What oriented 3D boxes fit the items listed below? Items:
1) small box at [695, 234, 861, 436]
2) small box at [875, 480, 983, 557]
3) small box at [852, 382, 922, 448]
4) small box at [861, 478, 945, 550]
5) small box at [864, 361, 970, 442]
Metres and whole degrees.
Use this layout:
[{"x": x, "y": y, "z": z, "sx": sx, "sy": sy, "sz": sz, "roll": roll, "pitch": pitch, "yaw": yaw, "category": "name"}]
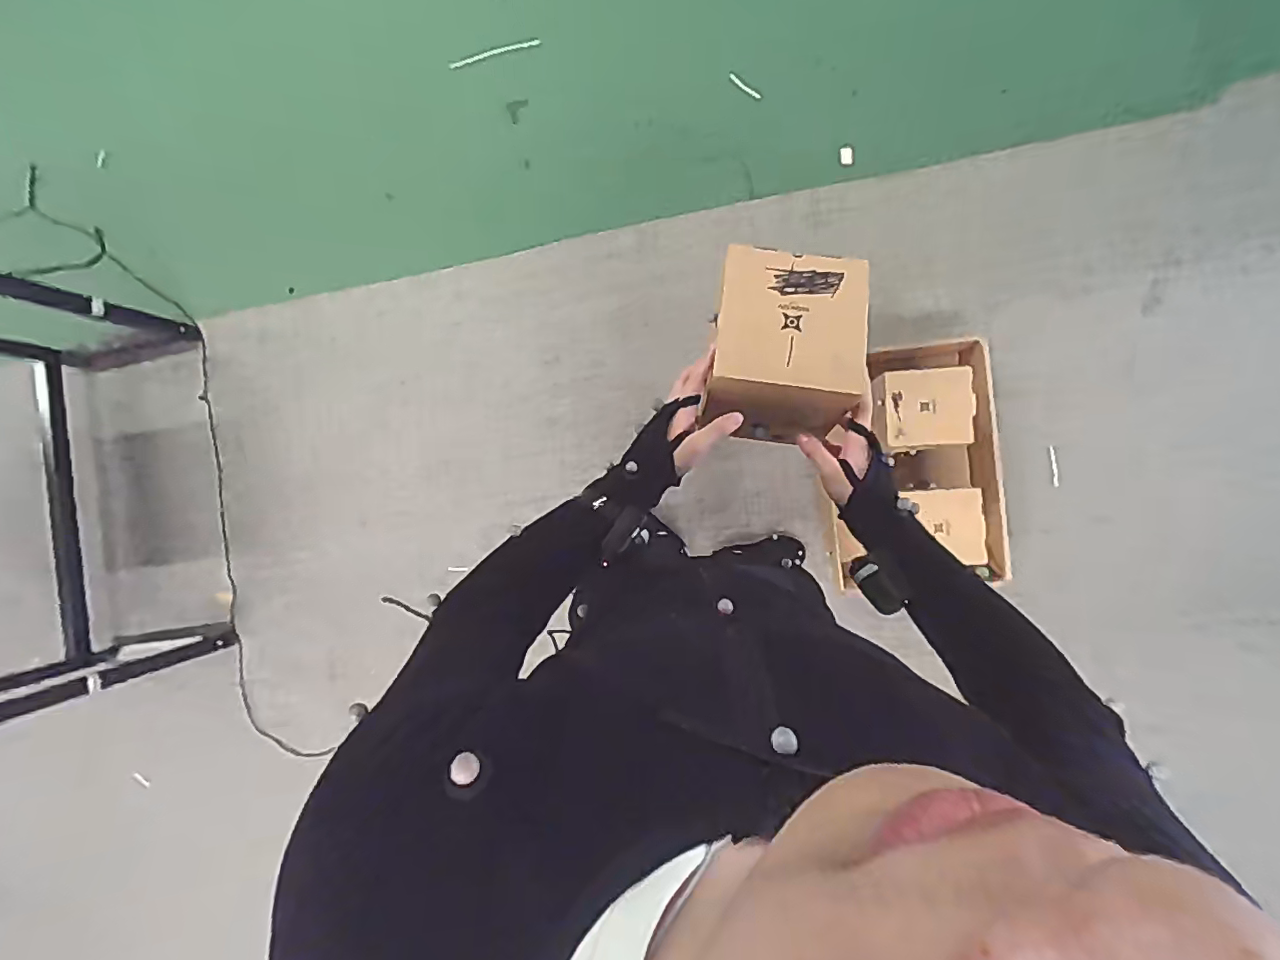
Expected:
[{"x": 0.165, "y": -0.173, "z": 0.684, "sx": 0.168, "sy": 0.176, "sz": 0.179, "roll": 8, "pitch": 75, "yaw": 3, "category": "small box"}, {"x": 0.661, "y": 0.085, "z": 1.252, "sx": 0.179, "sy": 0.176, "sz": 0.168, "roll": -4, "pitch": 88, "yaw": 11, "category": "small box"}, {"x": 0.661, "y": -0.174, "z": 1.413, "sx": 0.179, "sy": 0.176, "sz": 0.168, "roll": -7, "pitch": 91, "yaw": 11, "category": "small box"}, {"x": 0.686, "y": 0.087, "z": 1.414, "sx": 0.179, "sy": 0.176, "sz": 0.168, "roll": -7, "pitch": 89, "yaw": 10, "category": "small box"}, {"x": 0.633, "y": -0.176, "z": 1.250, "sx": 0.179, "sy": 0.176, "sz": 0.168, "roll": -2, "pitch": 90, "yaw": 9, "category": "small box"}]
